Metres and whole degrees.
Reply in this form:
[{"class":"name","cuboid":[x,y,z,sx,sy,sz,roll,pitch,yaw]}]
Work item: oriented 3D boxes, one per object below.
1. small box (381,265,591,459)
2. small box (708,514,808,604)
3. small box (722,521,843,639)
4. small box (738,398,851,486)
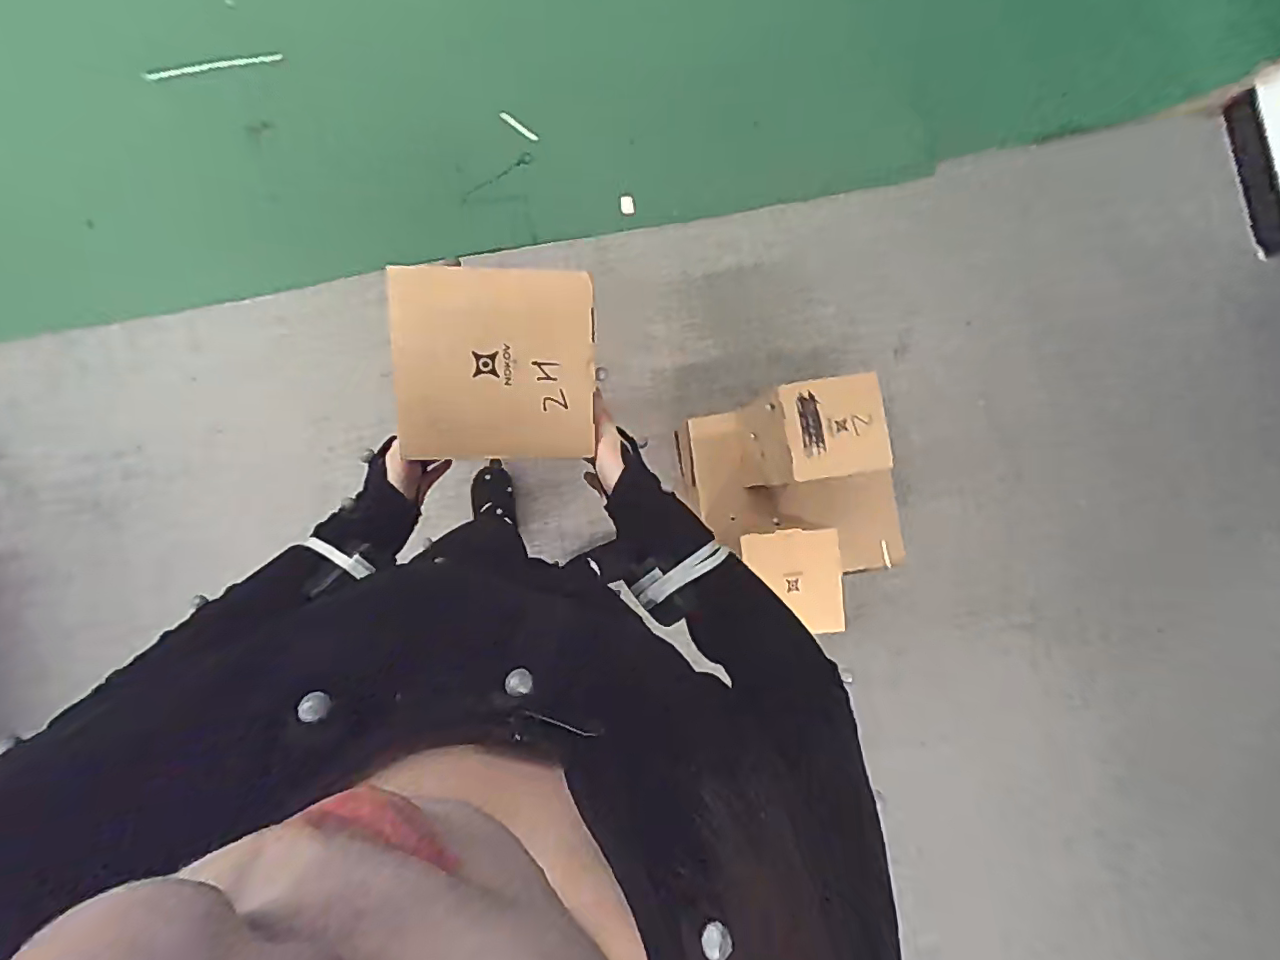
[{"class":"small box","cuboid":[-0.138,-0.112,0.548,0.179,0.176,0.168,-1,100,-6]},{"class":"small box","cuboid":[0.243,0.161,1.130,0.179,0.176,0.168,-4,90,-5]},{"class":"small box","cuboid":[0.247,0.170,0.967,0.168,0.176,0.179,-4,90,-4]},{"class":"small box","cuboid":[0.319,-0.076,1.142,0.179,0.176,0.168,-5,88,-5]}]
